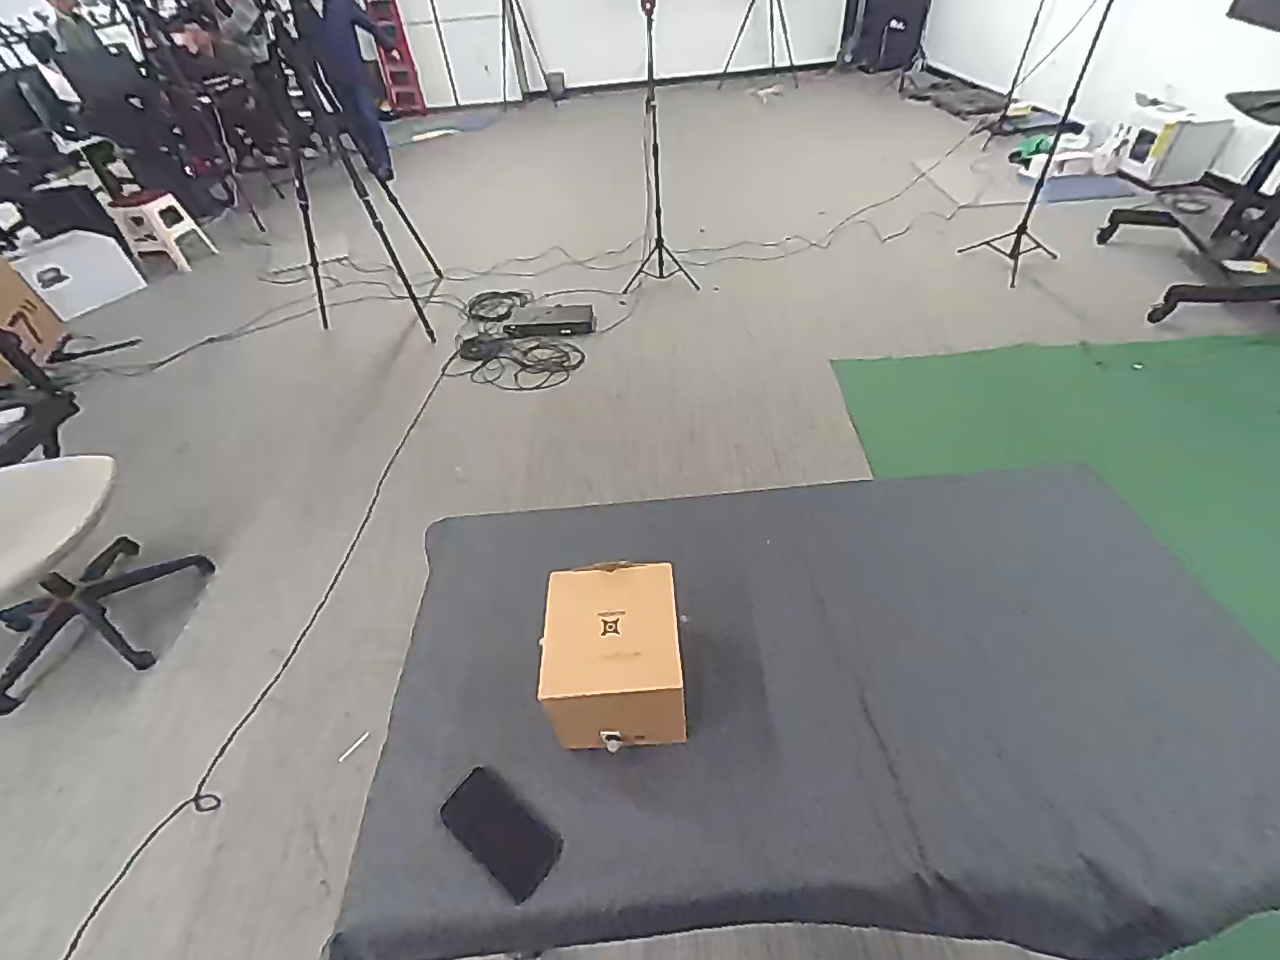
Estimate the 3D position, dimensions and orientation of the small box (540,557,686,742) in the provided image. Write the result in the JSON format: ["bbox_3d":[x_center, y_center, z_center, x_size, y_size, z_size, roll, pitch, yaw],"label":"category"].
[{"bbox_3d":[-0.029,0.226,0.722,0.168,0.176,0.179,-5,46,2],"label":"small box"}]
